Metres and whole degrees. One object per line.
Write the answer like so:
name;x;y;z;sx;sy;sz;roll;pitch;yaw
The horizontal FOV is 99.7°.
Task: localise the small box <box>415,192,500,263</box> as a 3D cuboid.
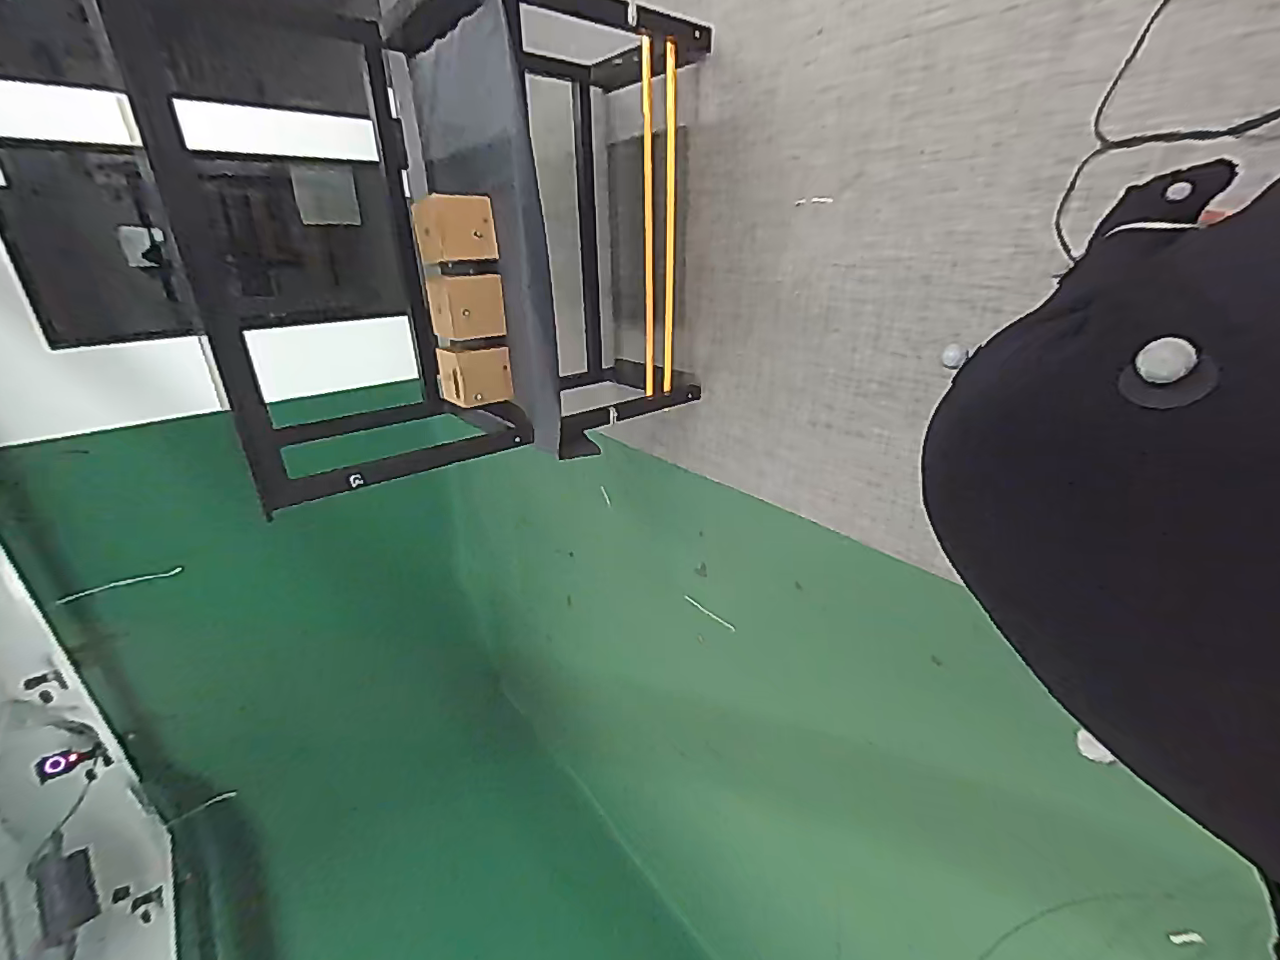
small box;-0.525;-0.722;1.562;0.179;0.176;0.168;17;119;48
